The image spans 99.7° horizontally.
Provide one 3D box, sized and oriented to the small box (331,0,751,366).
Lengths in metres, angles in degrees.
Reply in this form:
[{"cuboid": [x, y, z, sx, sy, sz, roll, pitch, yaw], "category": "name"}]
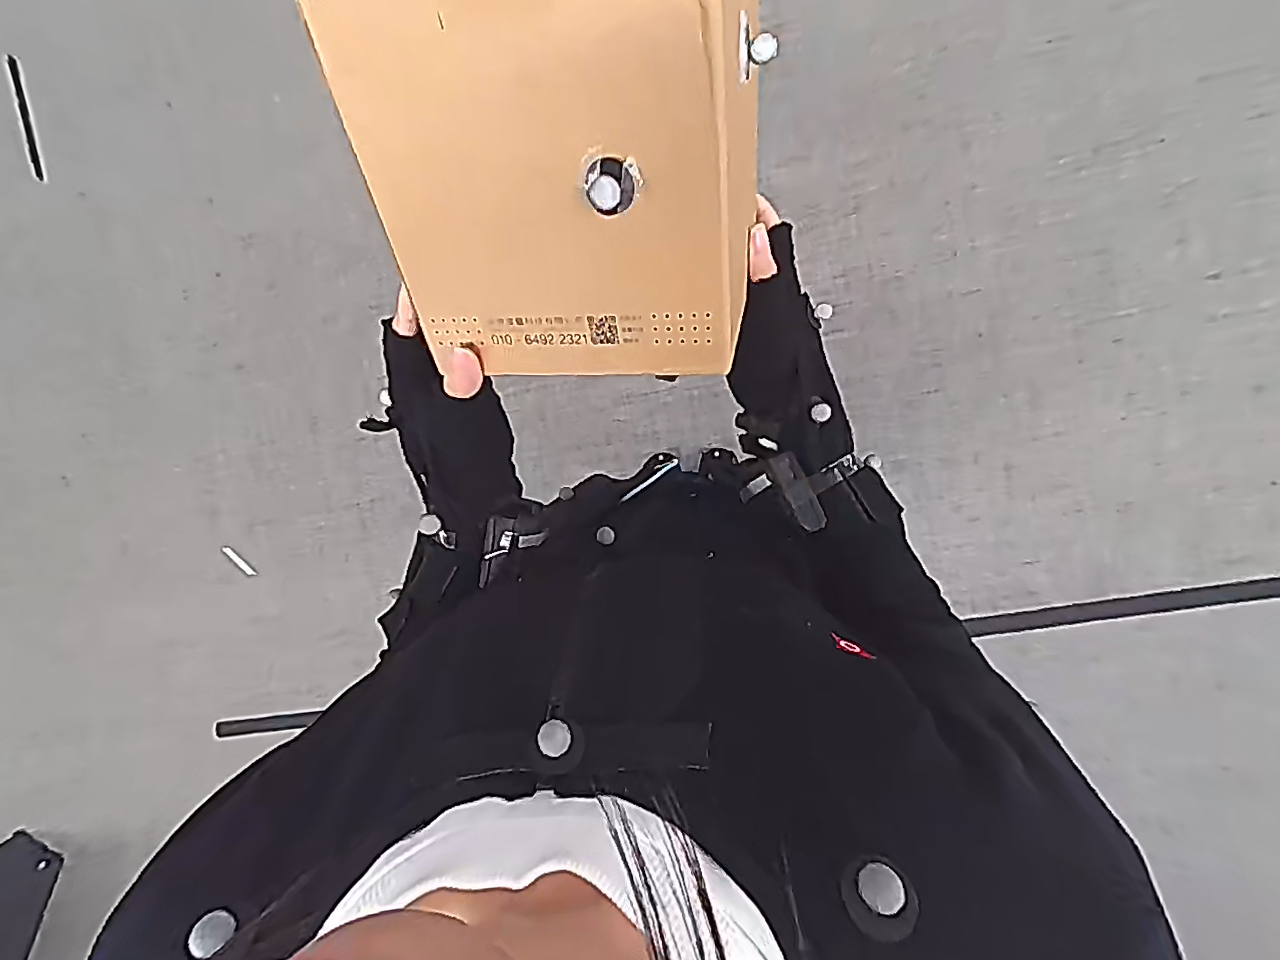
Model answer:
[{"cuboid": [-0.024, -0.178, 0.319, 0.168, 0.179, 0.176, 3, 130, 15], "category": "small box"}]
